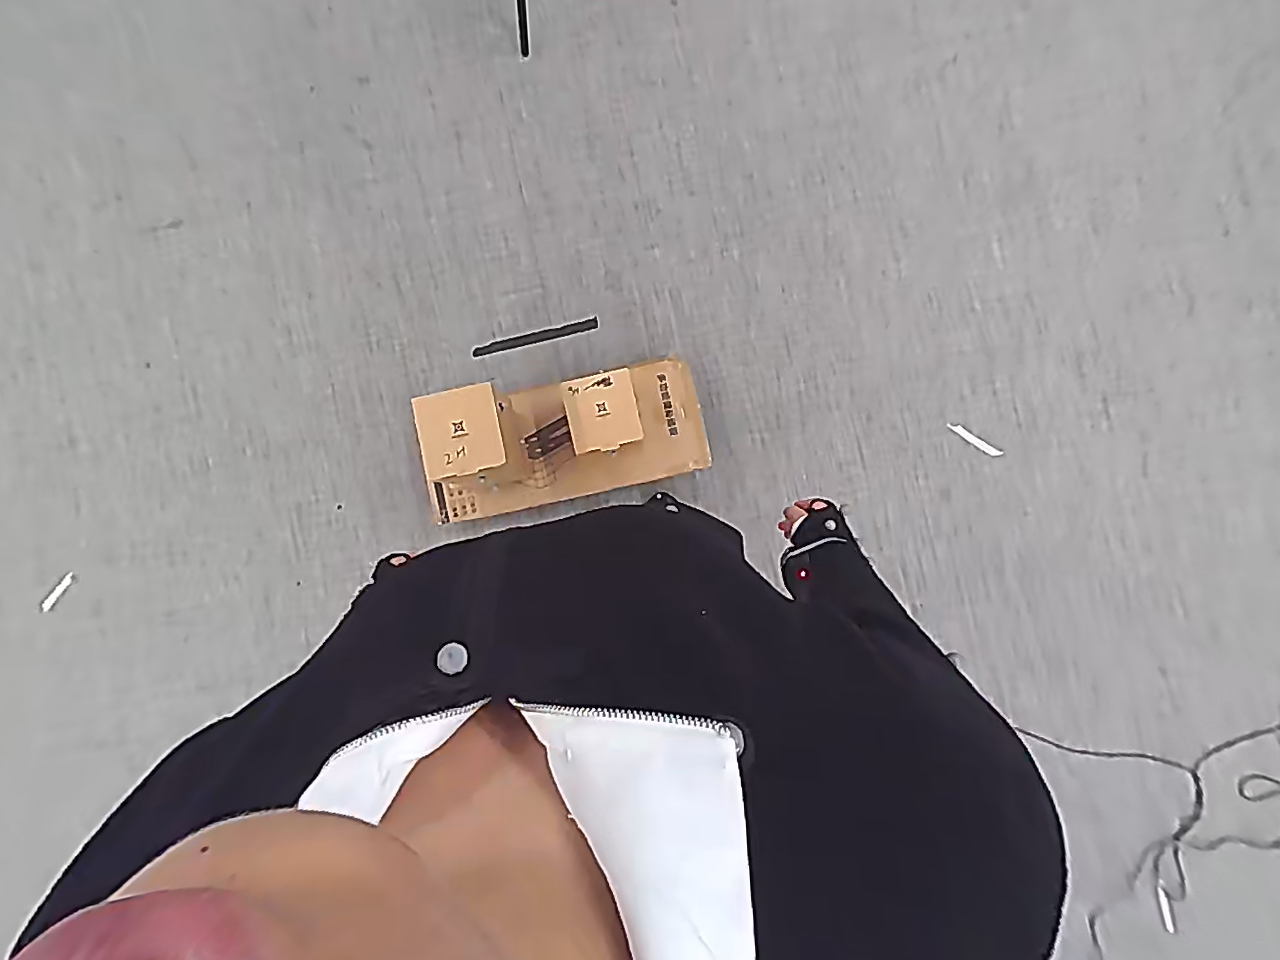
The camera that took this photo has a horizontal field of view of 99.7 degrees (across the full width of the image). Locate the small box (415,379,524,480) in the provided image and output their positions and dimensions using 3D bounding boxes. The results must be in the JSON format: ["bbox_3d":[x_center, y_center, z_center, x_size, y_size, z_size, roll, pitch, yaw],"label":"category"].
[{"bbox_3d":[-0.362,-0.102,1.169,0.168,0.176,0.179,-12,88,0],"label":"small box"}]

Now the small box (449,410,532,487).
[{"bbox_3d":[-0.377,-0.085,1.334,0.168,0.176,0.179,-14,89,0],"label":"small box"}]

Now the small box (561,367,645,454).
[{"bbox_3d":[-0.085,-0.161,1.333,0.168,0.176,0.179,-12,88,3],"label":"small box"}]
